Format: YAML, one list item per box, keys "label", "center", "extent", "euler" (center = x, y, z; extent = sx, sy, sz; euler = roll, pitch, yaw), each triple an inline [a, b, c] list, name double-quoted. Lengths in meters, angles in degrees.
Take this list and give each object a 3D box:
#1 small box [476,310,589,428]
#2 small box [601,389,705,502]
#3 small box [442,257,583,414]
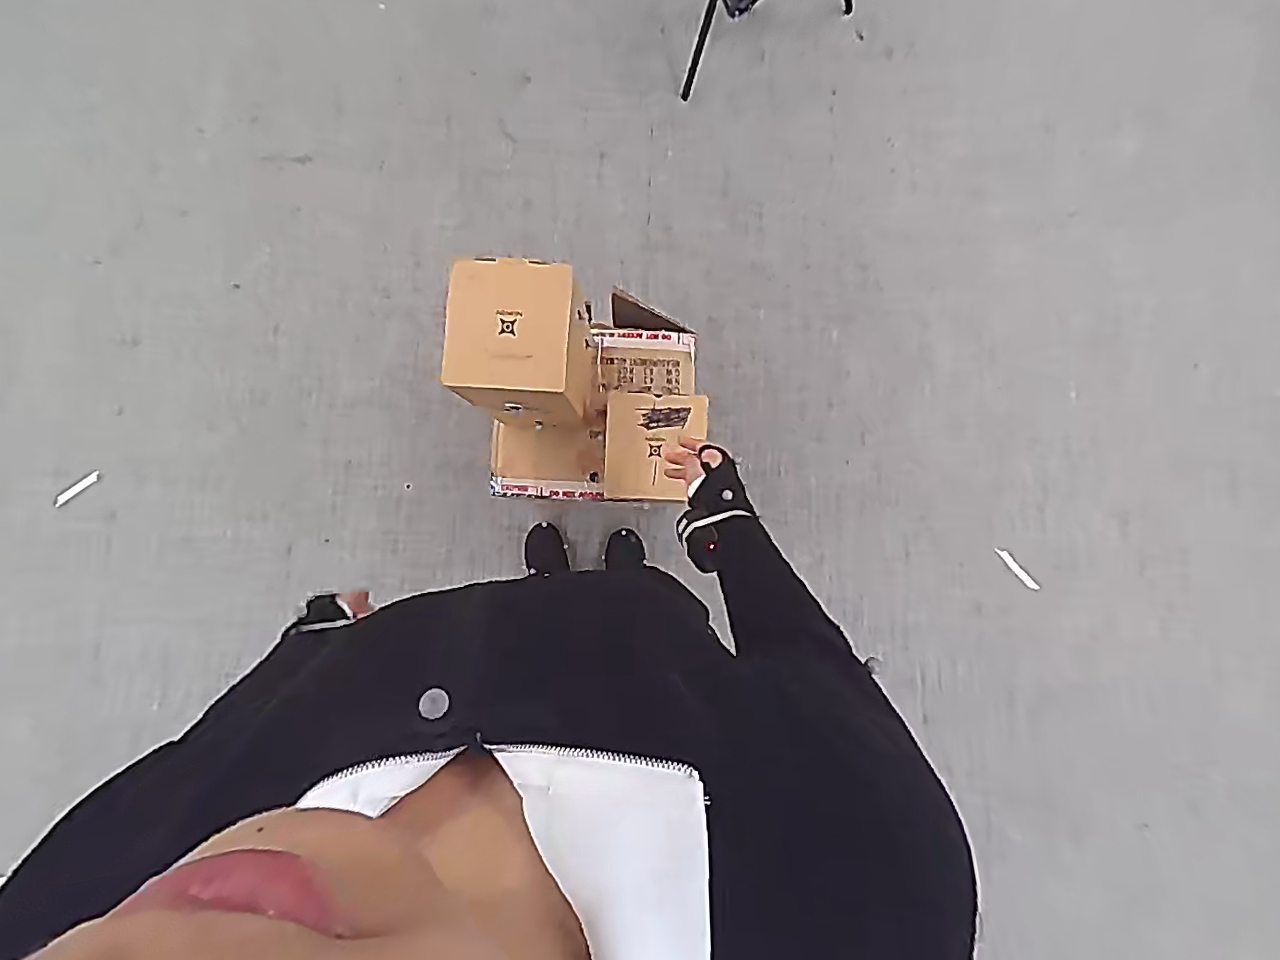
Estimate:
- label: "small box"
  center: [-0.181, -0.195, 0.959]
  extent: [0.168, 0.176, 0.179]
  euler: [3, 87, 0]
- label: "small box"
  center: [0.017, -0.053, 0.958]
  extent: [0.168, 0.176, 0.179]
  euler: [3, 88, -3]
- label: "small box"
  center: [-0.176, -0.203, 0.796]
  extent: [0.168, 0.176, 0.179]
  euler: [3, 87, 0]
